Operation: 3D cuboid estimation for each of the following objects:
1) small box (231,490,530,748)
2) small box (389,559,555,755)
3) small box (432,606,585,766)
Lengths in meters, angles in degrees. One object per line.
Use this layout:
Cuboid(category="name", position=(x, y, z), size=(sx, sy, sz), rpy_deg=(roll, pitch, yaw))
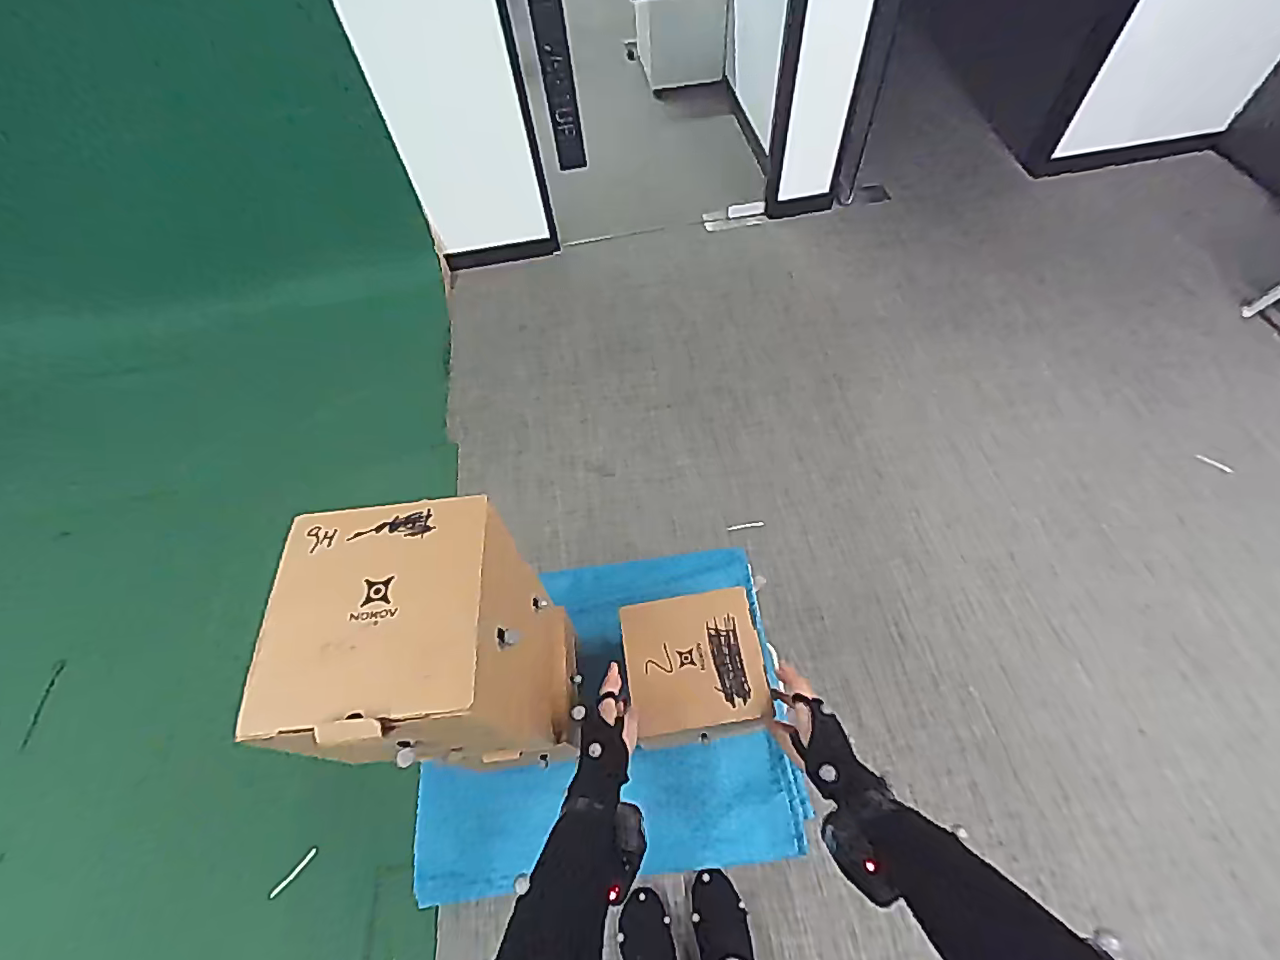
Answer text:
Cuboid(category="small box", position=(-0.197, 0.131, 0.474), size=(0.168, 0.176, 0.179), rpy_deg=(-5, 57, 0))
Cuboid(category="small box", position=(-0.193, 0.210, 0.619), size=(0.168, 0.176, 0.179), rpy_deg=(-5, 57, 0))
Cuboid(category="small box", position=(-0.171, 0.294, 0.756), size=(0.168, 0.176, 0.179), rpy_deg=(-6, 57, 0))
